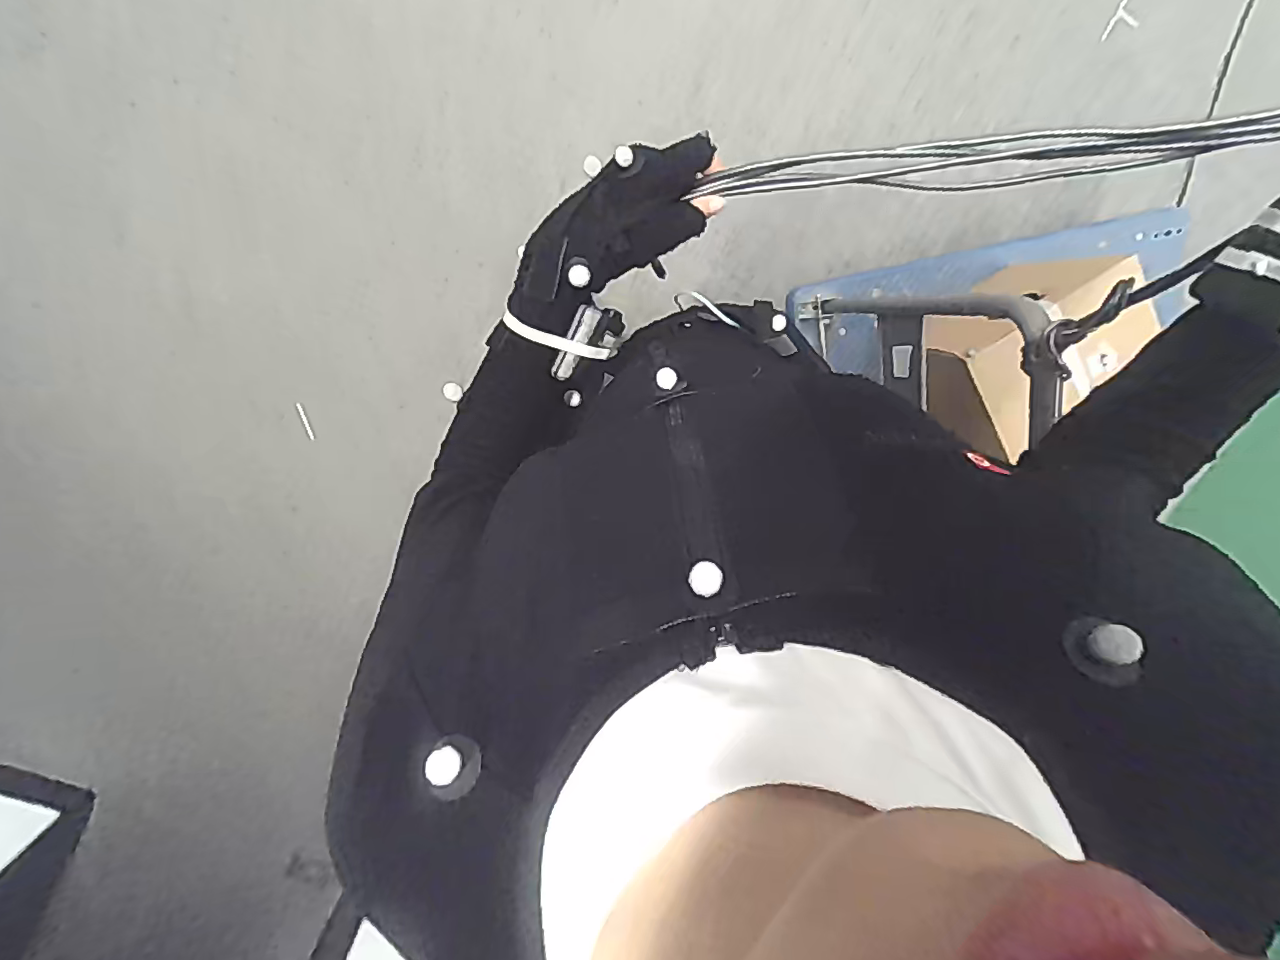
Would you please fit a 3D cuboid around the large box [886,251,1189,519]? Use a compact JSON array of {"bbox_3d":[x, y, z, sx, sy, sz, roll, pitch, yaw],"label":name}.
[{"bbox_3d":[0.794,-0.199,1.125,0.320,0.320,0.408,-32,106,8],"label":"large box"}]
